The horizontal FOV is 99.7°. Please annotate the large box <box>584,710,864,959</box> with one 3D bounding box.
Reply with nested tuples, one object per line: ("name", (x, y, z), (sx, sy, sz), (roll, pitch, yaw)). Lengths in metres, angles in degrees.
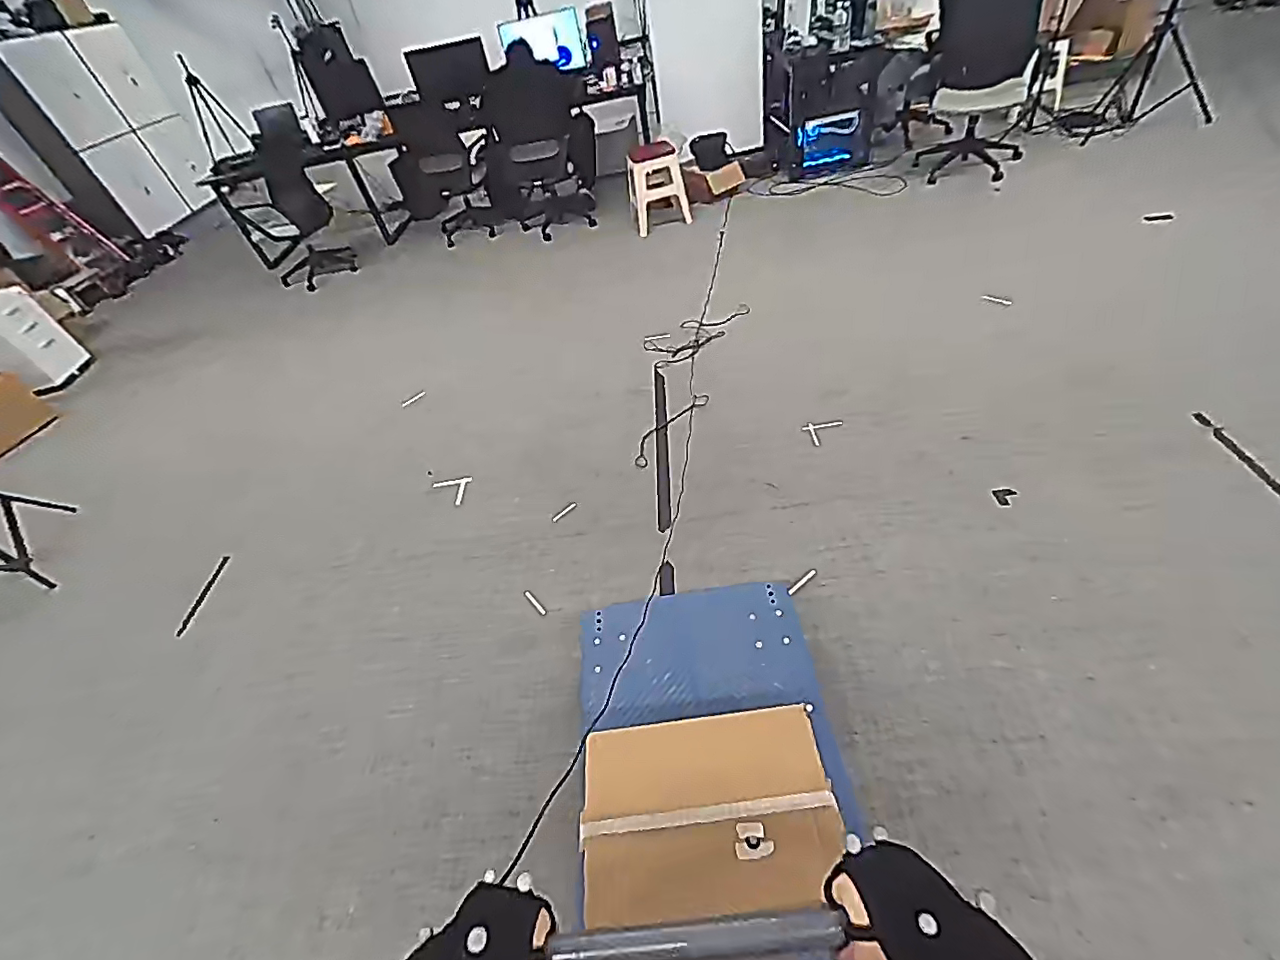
("large box", (0.129, 0.654, 0.961), (0.408, 0.320, 0.320), (-10, 43, 4))
